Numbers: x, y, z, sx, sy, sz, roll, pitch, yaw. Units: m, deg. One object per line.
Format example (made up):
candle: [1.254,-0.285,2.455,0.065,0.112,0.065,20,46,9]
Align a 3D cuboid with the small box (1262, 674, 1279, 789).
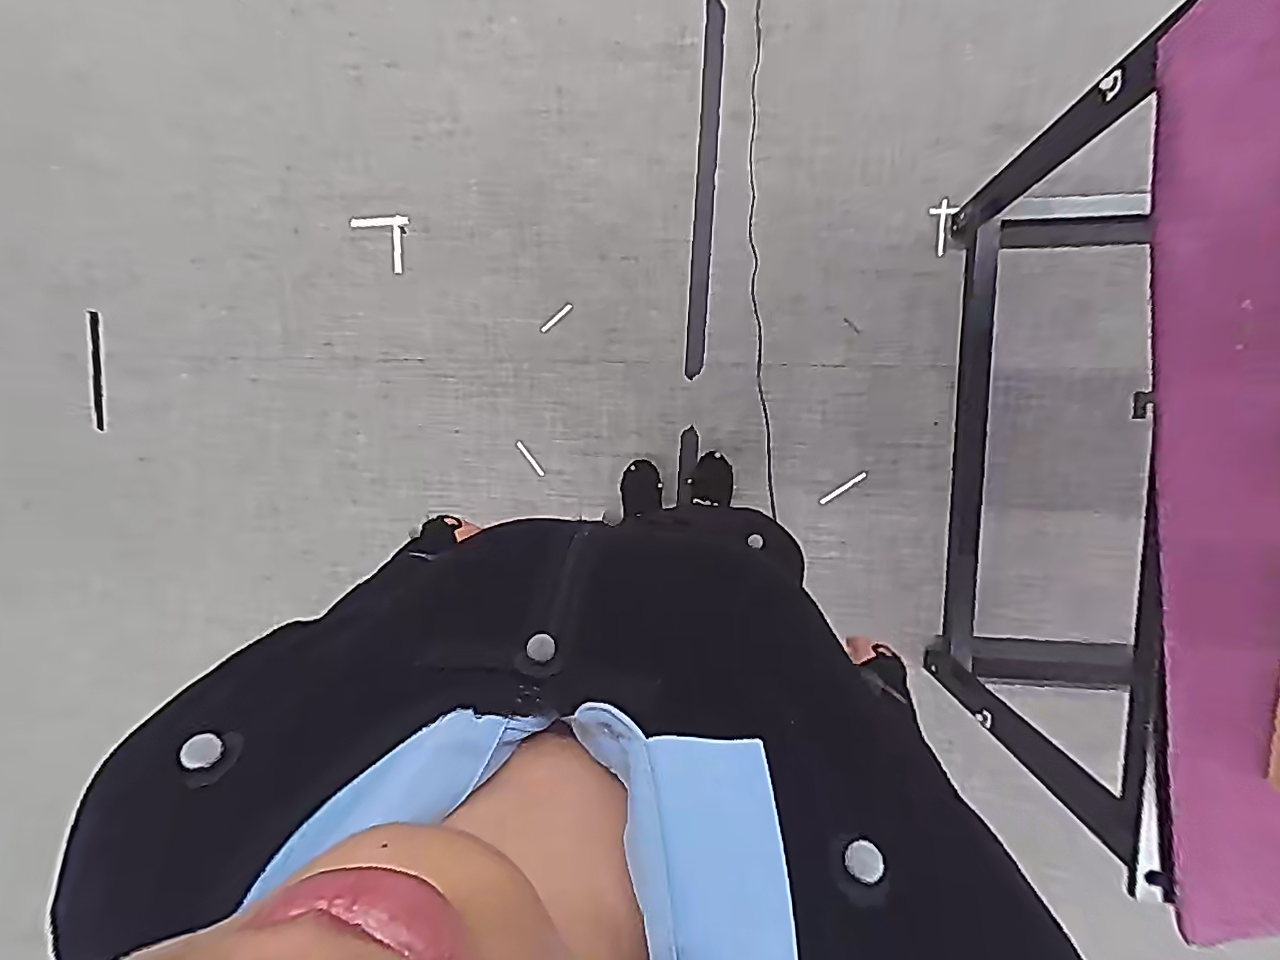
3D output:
small box: [0.881,0.319,0.600,0.179,0.176,0.168,4,94,5]
